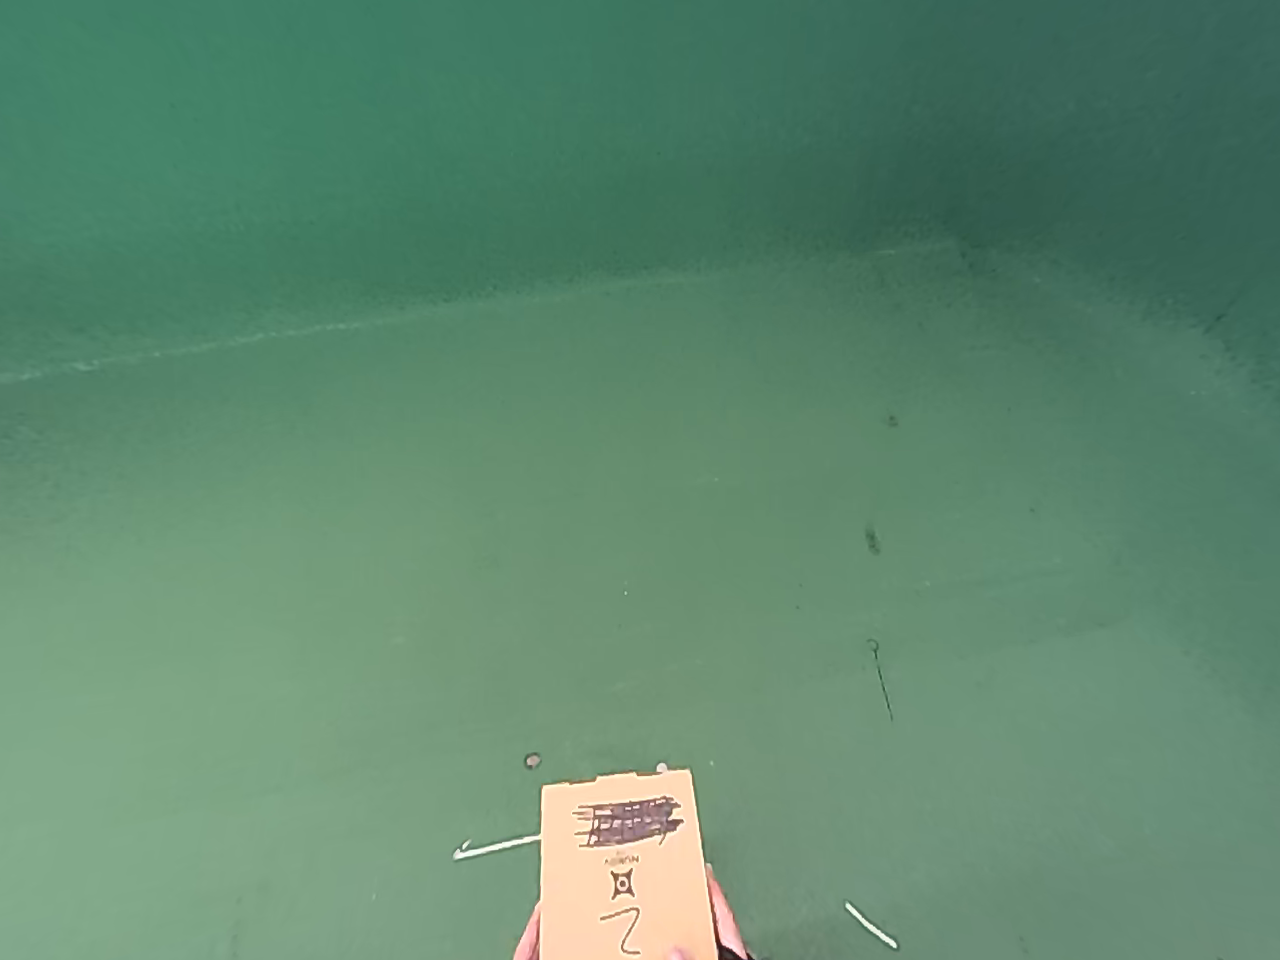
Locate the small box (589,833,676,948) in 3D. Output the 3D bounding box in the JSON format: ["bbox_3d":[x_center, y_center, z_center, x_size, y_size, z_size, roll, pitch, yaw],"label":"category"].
[{"bbox_3d":[-0.019,0.900,1.184,0.168,0.176,0.179,-8,50,-4],"label":"small box"}]
